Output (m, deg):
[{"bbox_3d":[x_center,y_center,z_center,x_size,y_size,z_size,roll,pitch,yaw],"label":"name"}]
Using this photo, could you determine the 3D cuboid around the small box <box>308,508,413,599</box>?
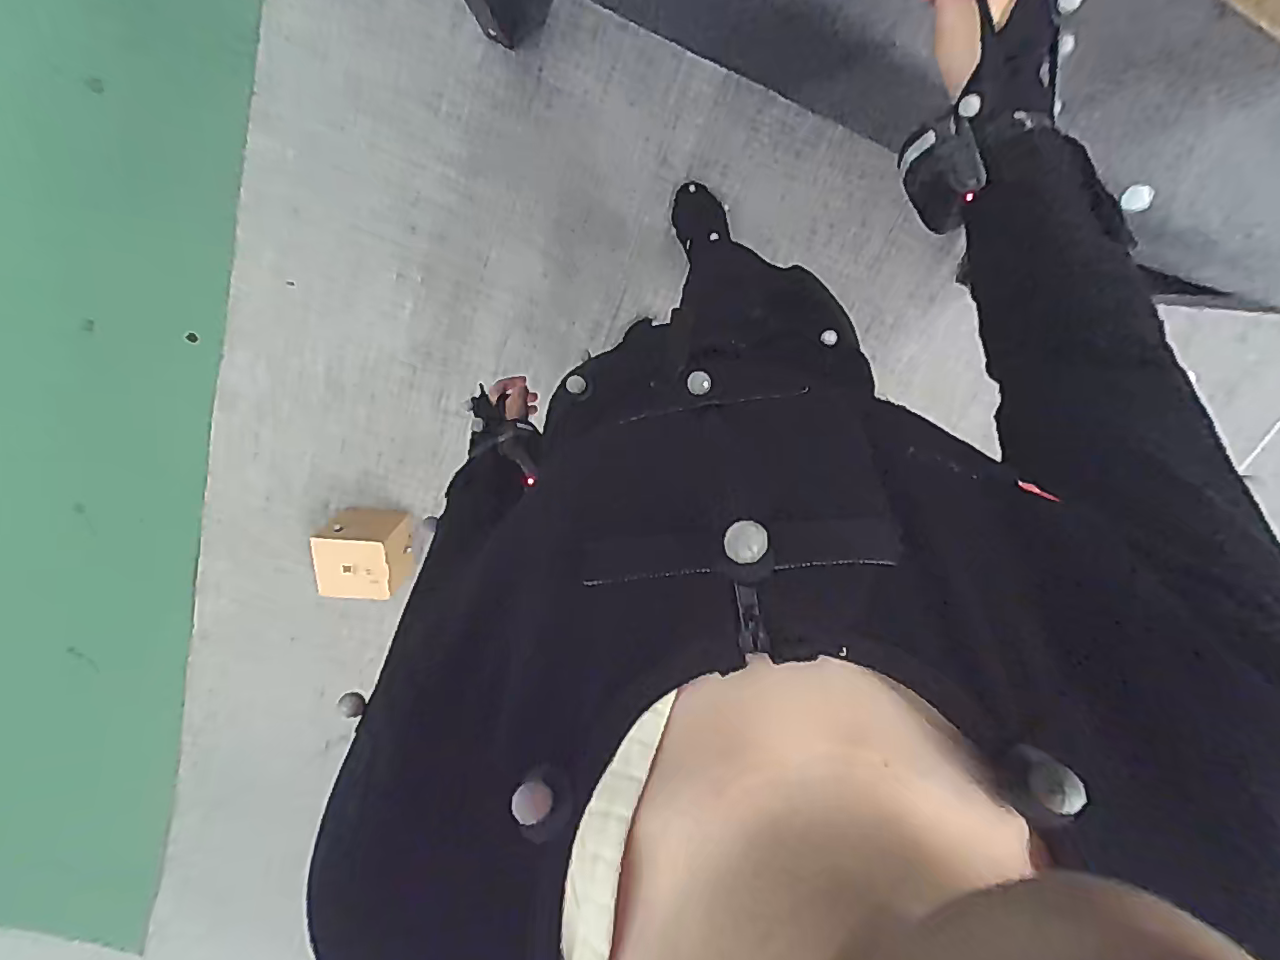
[{"bbox_3d":[-0.698,0.180,1.368,0.179,0.176,0.168,4,112,-3],"label":"small box"}]
